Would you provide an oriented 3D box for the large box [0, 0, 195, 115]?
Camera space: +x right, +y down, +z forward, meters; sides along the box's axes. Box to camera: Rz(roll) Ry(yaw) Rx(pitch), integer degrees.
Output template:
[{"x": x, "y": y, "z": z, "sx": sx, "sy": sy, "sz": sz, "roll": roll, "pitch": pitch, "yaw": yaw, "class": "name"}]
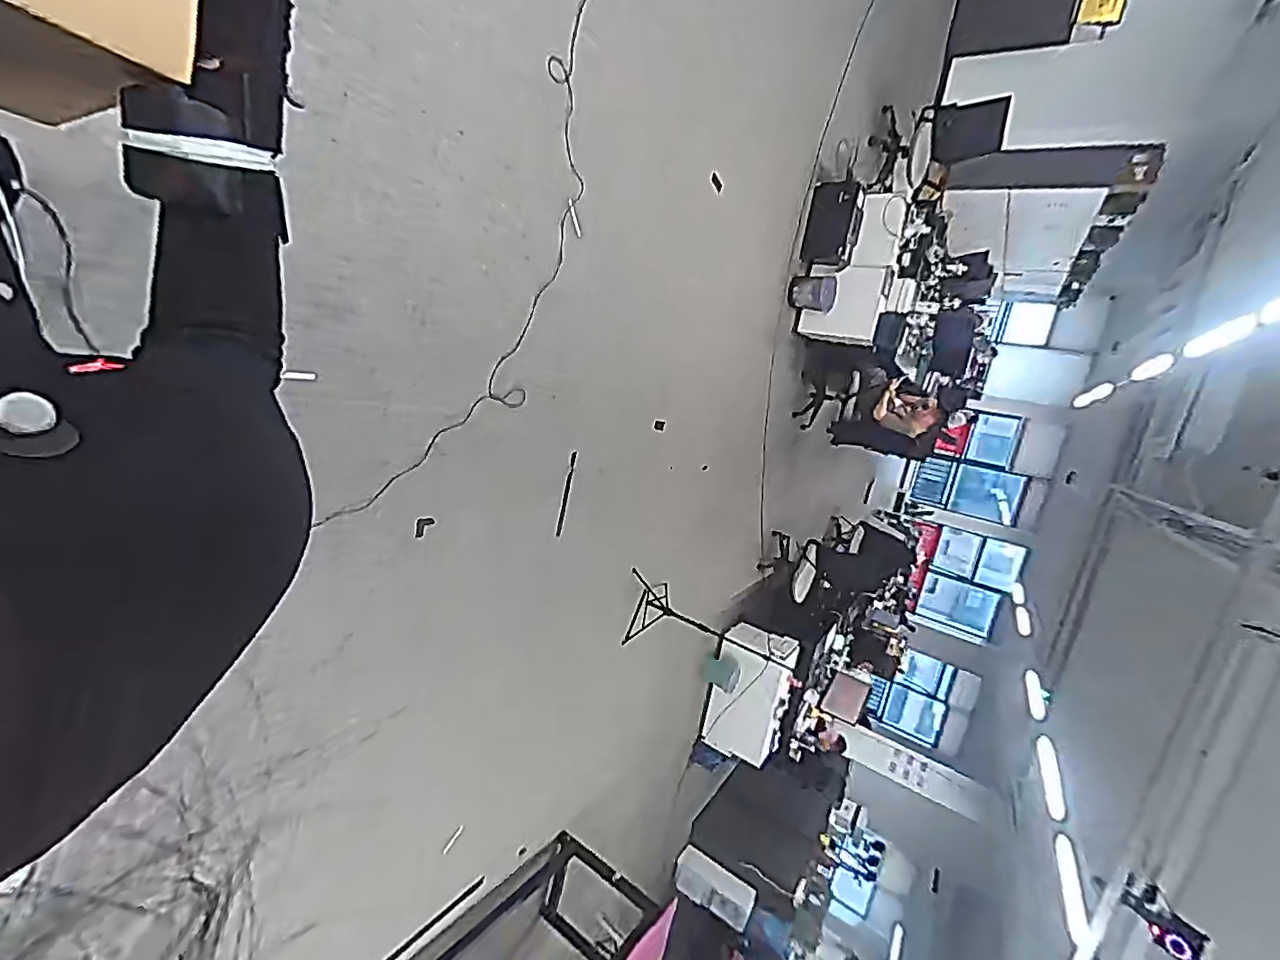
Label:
[{"x": -0.477, "y": -0.420, "z": 0.215, "sx": 0.408, "sy": 0.320, "sz": 0.320, "roll": -4, "pitch": 109, "yaw": -58, "class": "large box"}]
